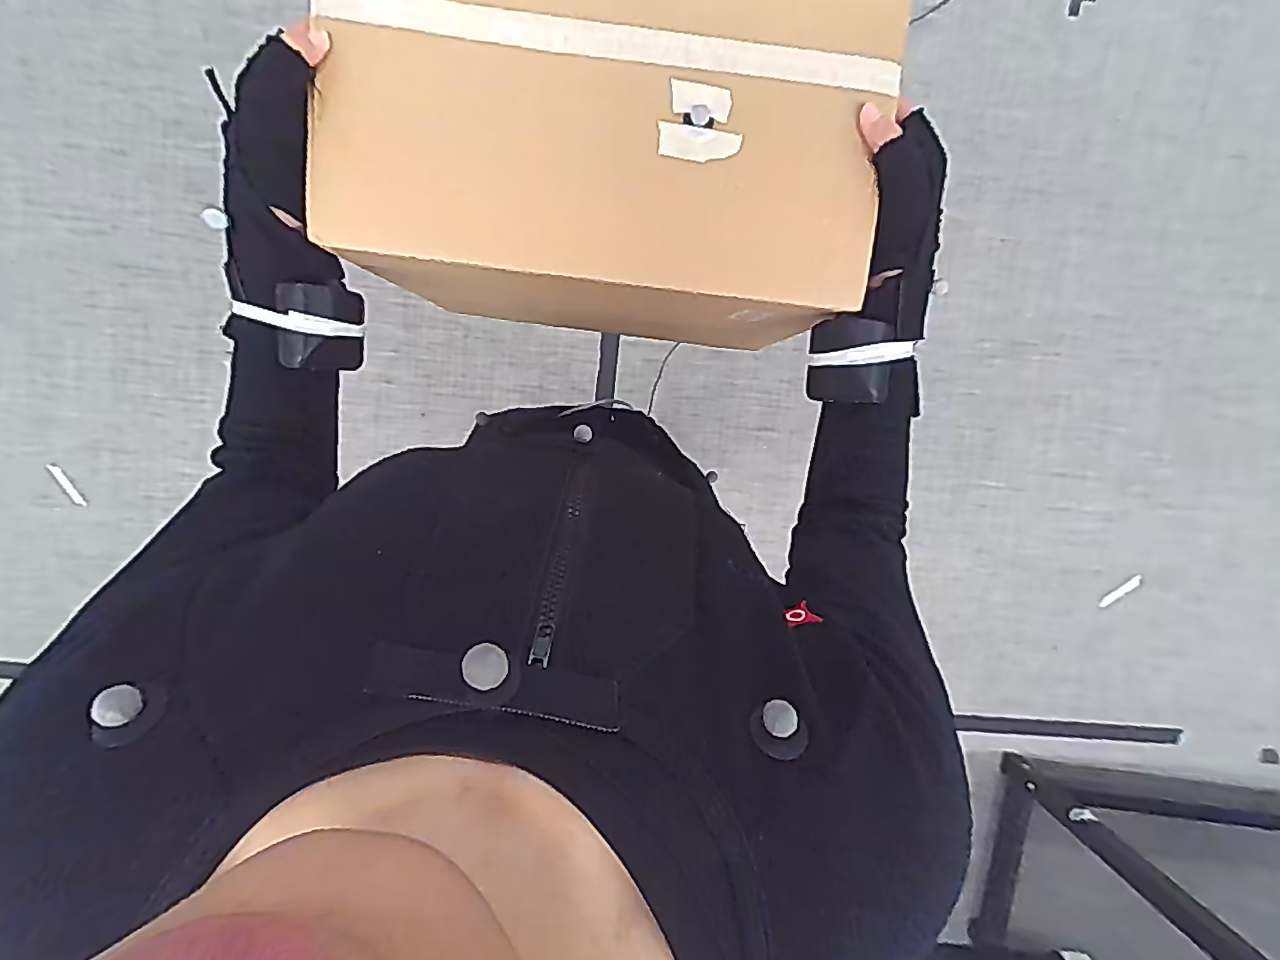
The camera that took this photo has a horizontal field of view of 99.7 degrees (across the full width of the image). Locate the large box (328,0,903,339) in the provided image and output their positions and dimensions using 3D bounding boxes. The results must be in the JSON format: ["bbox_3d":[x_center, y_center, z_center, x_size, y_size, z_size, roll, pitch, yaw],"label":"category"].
[{"bbox_3d":[-0.023,-0.329,0.530,0.408,0.320,0.320,6,99,-3],"label":"large box"}]
